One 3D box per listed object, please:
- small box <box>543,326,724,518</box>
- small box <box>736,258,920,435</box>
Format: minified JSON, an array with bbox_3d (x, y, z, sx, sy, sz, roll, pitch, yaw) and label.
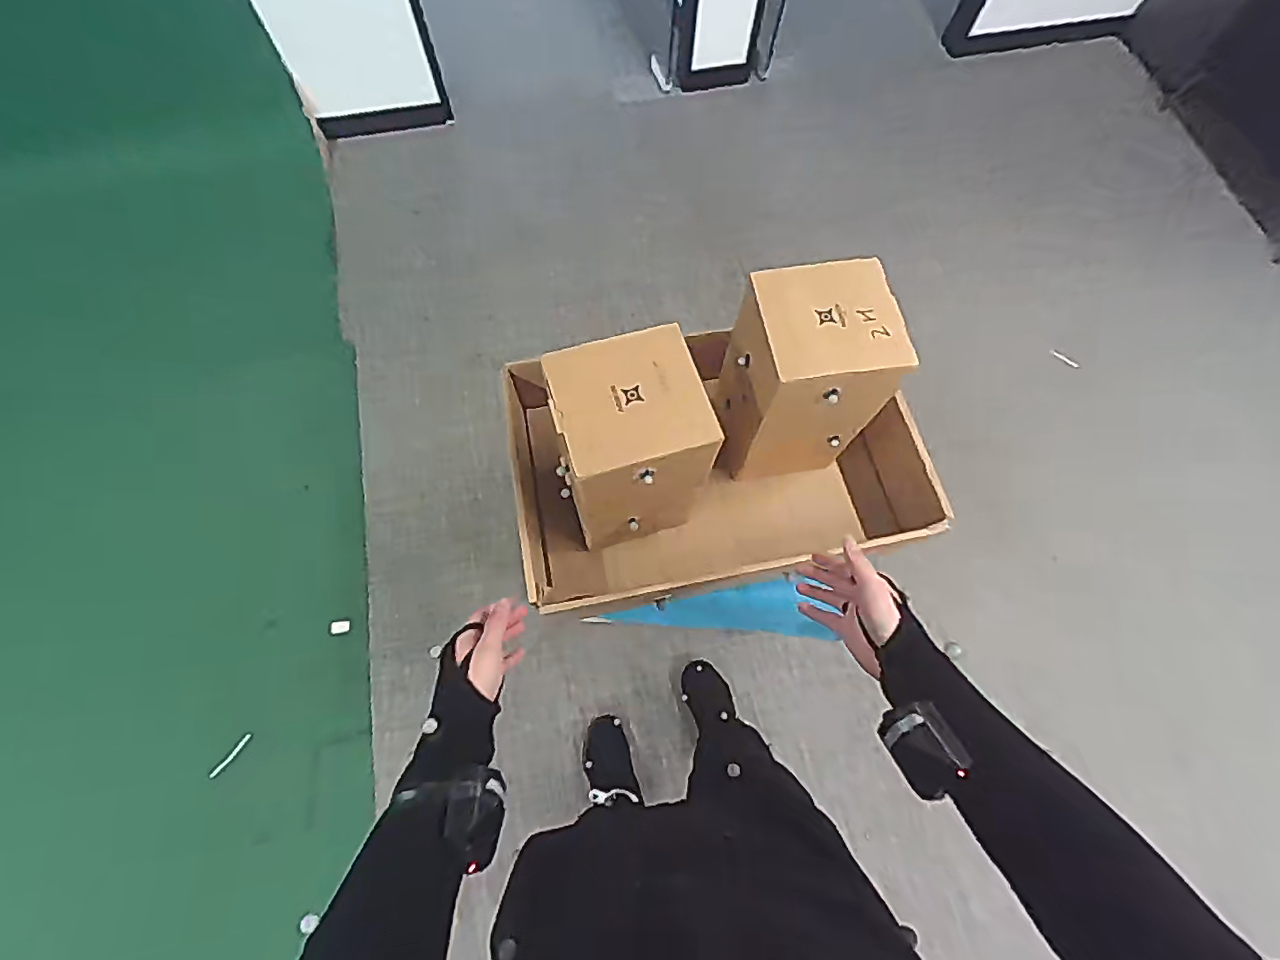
[{"bbox_3d":[-0.013,-0.065,0.693,0.179,0.176,0.168,-15,70,-9],"label":"small box"},{"bbox_3d":[0.237,-0.172,0.738,0.179,0.176,0.168,-7,70,-4],"label":"small box"}]
